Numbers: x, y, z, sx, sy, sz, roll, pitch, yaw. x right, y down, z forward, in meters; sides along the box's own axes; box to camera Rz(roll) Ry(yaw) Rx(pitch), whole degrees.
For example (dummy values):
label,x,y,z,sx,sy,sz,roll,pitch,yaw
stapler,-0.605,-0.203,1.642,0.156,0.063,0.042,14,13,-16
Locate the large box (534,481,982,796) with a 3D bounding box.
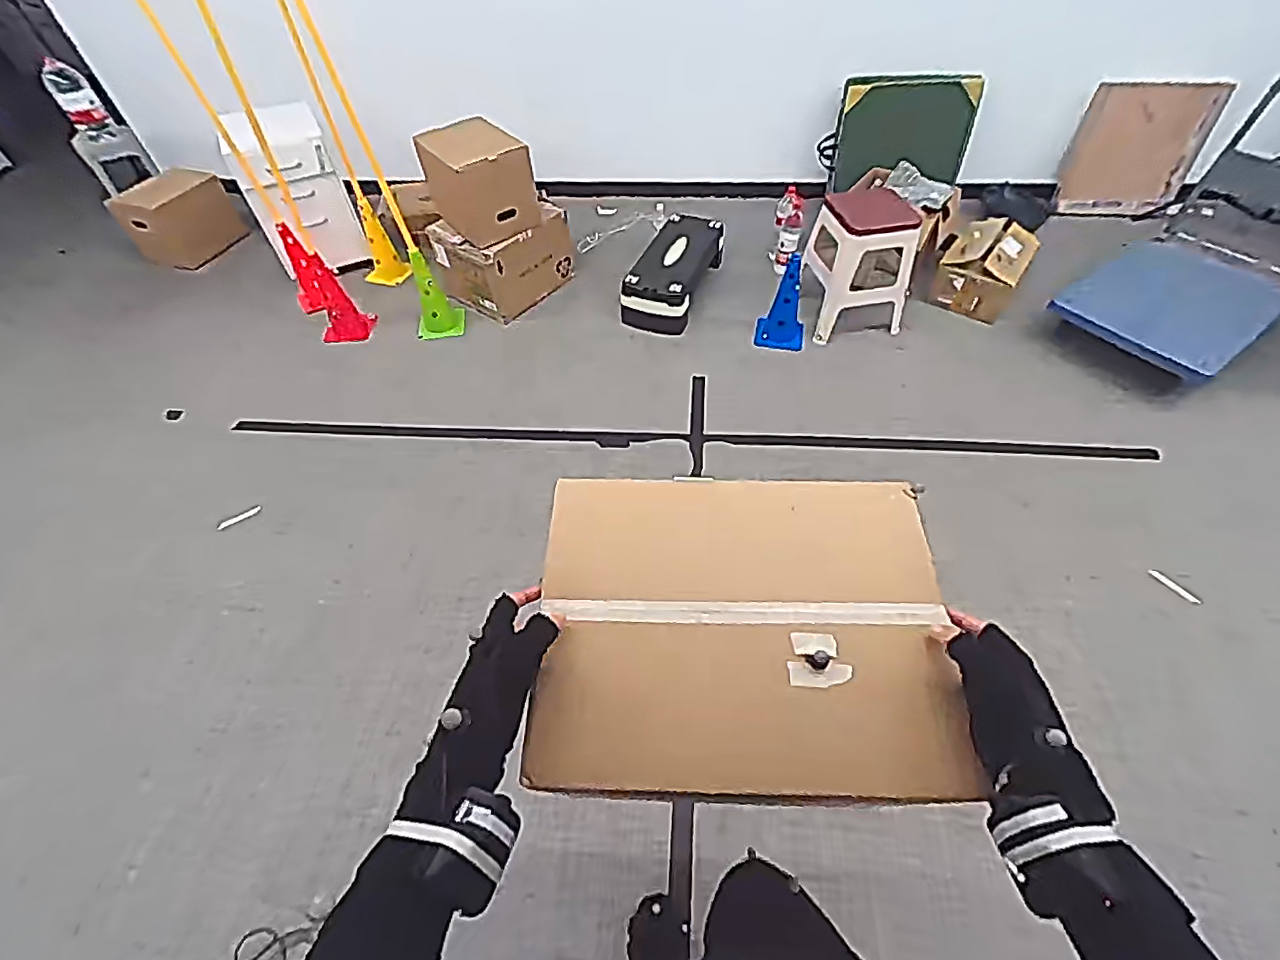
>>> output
label,x,y,z,sx,sy,sz,roll,pitch,yaw
large box,0.104,0.211,0.678,0.408,0.320,0.320,1,58,1
